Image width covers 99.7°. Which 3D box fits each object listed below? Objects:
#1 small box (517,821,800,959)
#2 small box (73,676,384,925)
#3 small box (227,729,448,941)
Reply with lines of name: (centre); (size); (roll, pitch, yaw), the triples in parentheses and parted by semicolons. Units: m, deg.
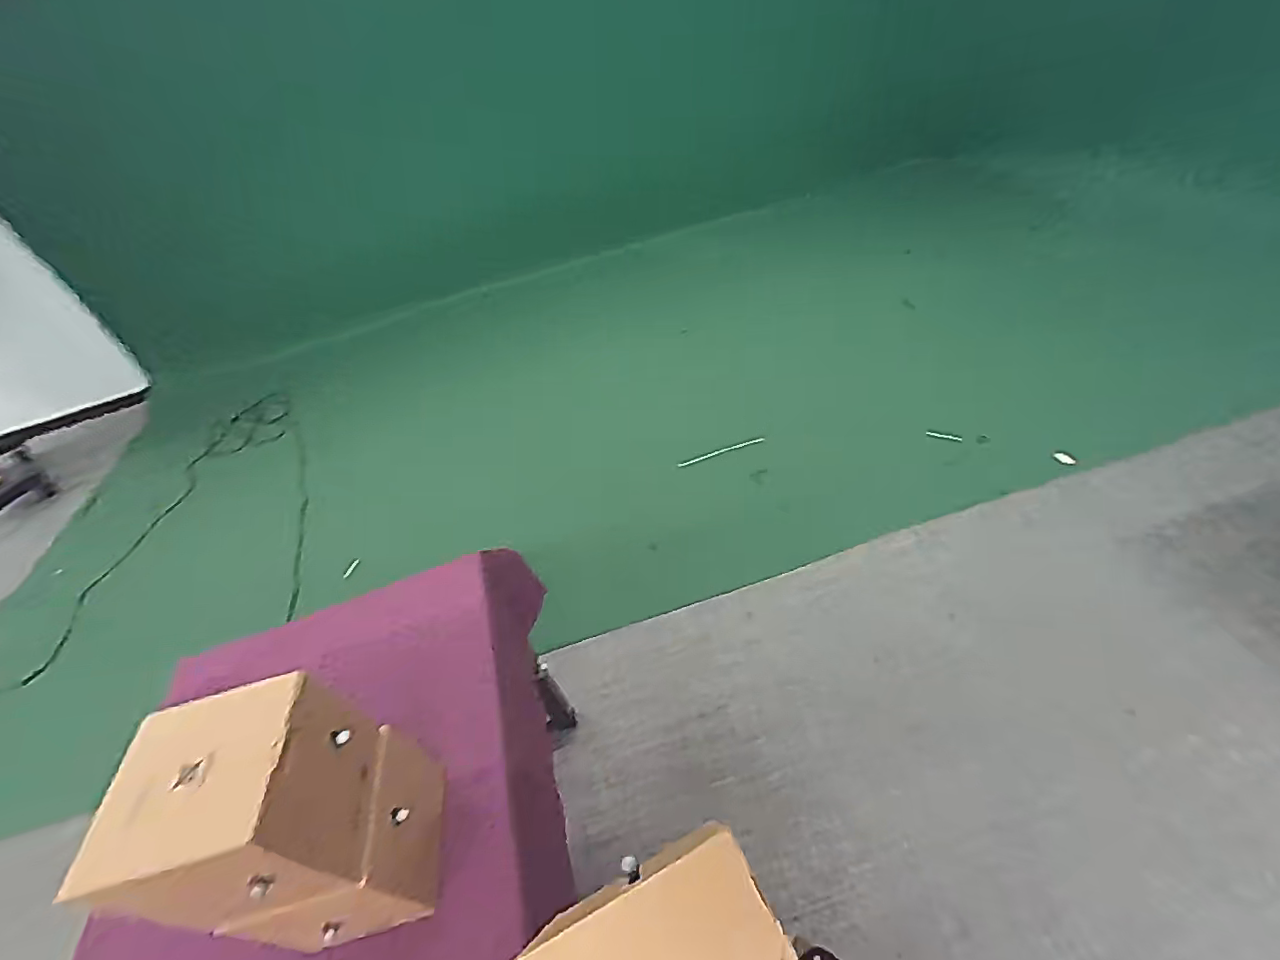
small box: (0.032, 0.390, 0.413); (0.179, 0.176, 0.168); (-24, 60, -11)
small box: (-0.406, 0.343, 0.579); (0.179, 0.176, 0.168); (-18, 42, 1)
small box: (-0.361, 0.456, 0.688); (0.168, 0.176, 0.179); (-17, 42, 0)
